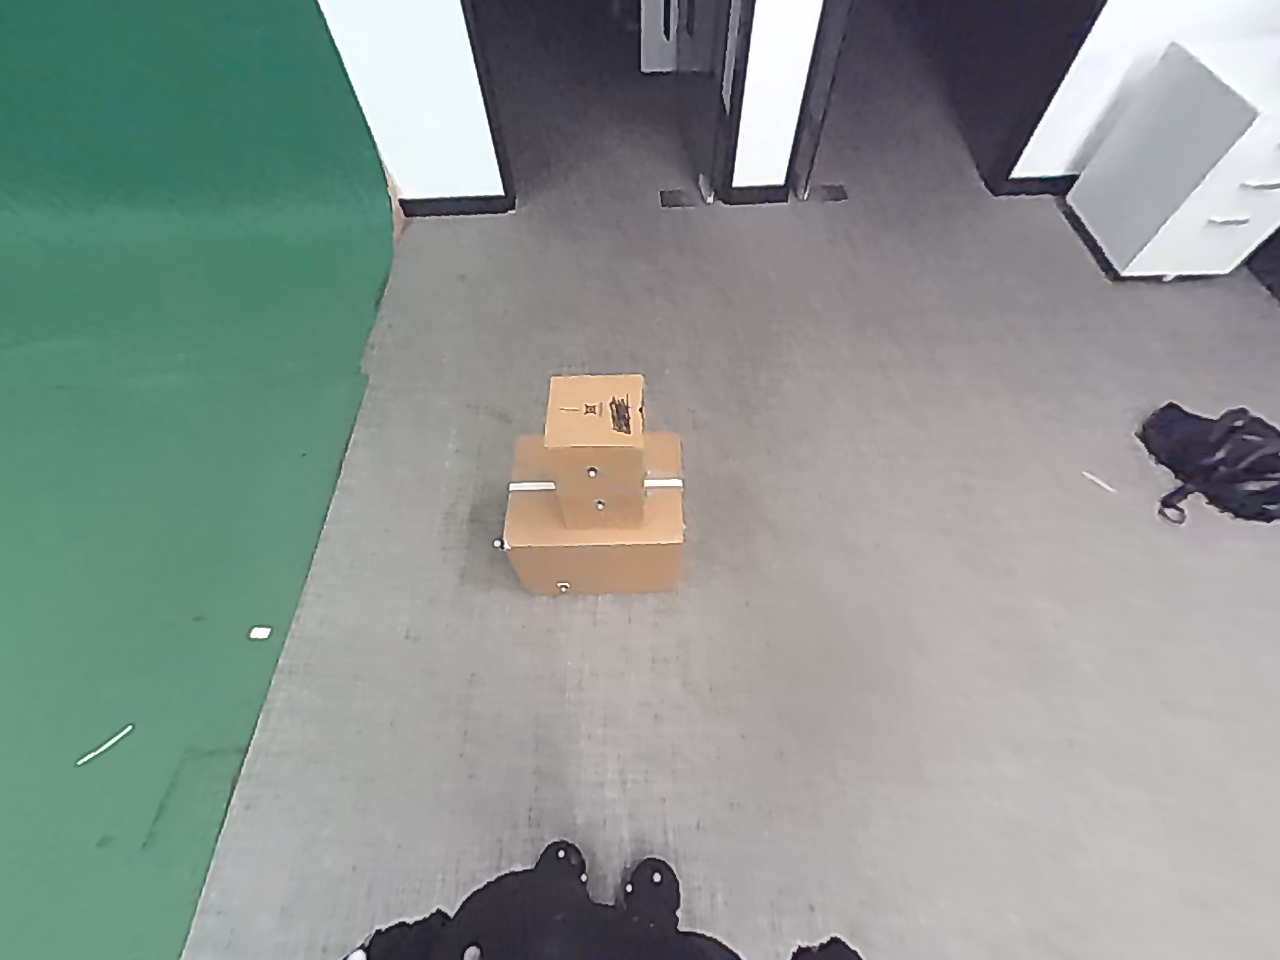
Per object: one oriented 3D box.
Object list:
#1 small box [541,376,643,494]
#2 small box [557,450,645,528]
[{"bbox_3d":[-0.082,-0.082,1.043,0.179,0.176,0.168,-1,59,2],"label":"small box"},{"bbox_3d":[-0.078,-0.001,1.187,0.179,0.176,0.168,-2,60,0],"label":"small box"}]
